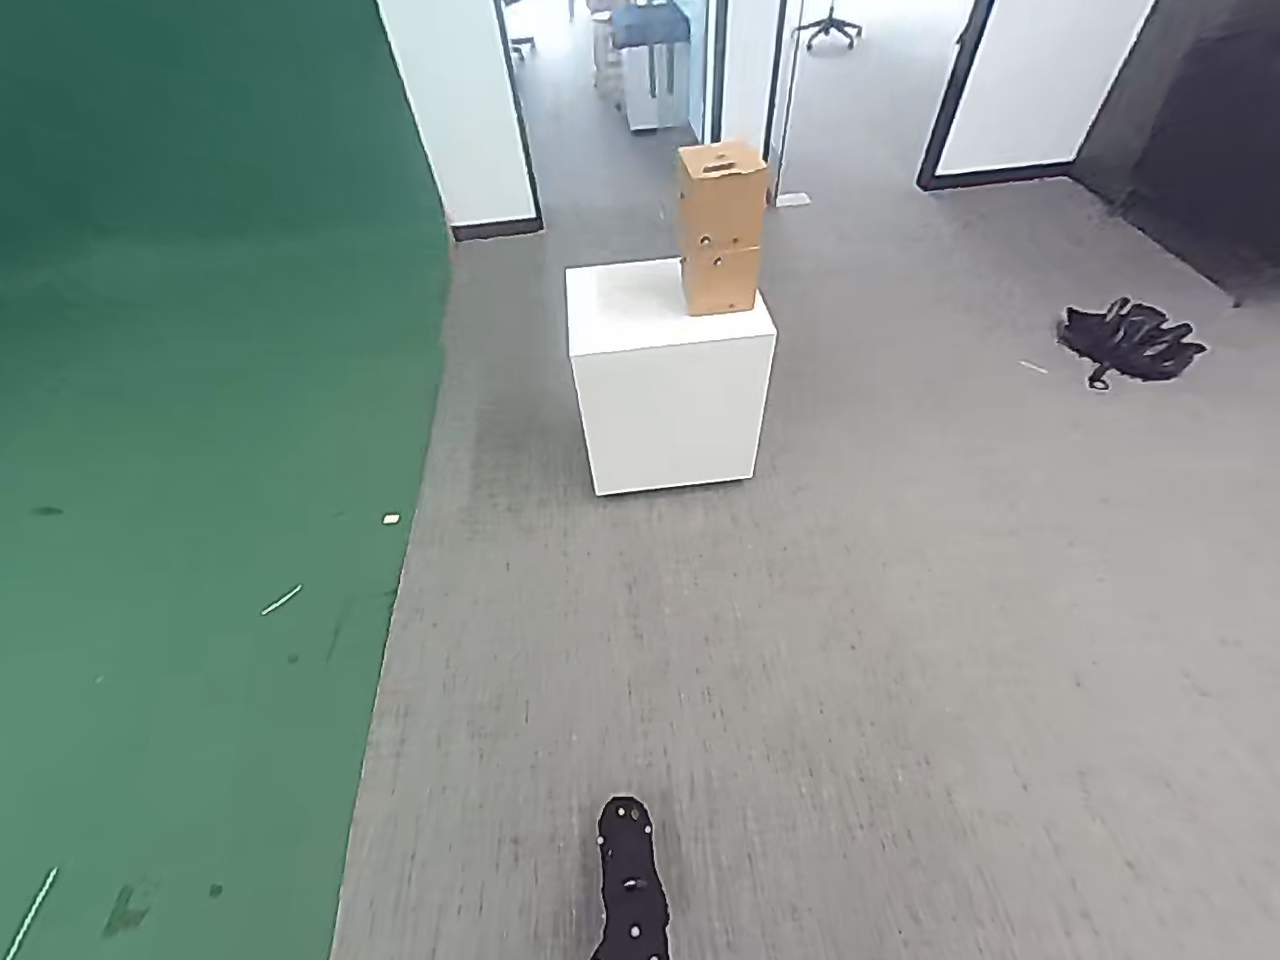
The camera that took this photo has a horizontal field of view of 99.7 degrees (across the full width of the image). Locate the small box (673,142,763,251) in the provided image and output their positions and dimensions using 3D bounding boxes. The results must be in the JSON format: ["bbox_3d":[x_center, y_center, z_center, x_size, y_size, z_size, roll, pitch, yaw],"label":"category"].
[{"bbox_3d":[0.174,-0.642,1.241,0.168,0.176,0.179,-9,50,-2],"label":"small box"}]

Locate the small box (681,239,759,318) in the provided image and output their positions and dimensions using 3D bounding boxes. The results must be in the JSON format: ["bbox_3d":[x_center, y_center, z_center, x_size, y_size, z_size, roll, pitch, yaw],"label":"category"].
[{"bbox_3d":[0.193,-0.534,1.364,0.168,0.176,0.179,-8,50,0],"label":"small box"}]
